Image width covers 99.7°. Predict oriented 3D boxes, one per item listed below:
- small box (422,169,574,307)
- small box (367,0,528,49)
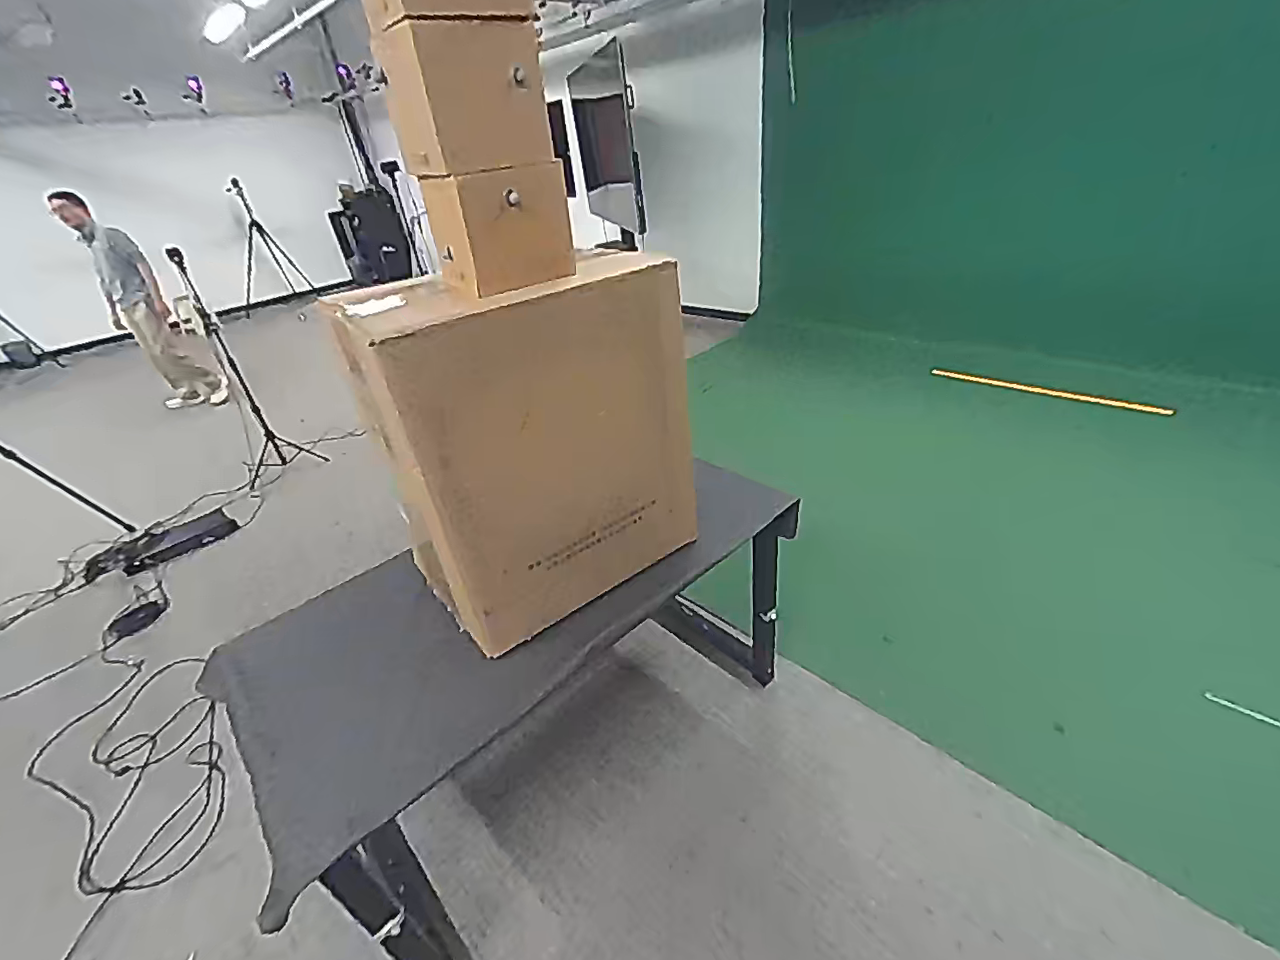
[{"bbox_3d":[-0.220,-0.394,0.871,0.179,0.176,0.168,-26,39,-27],"label":"small box"},{"bbox_3d":[-0.256,-0.666,0.690,0.179,0.176,0.168,-25,37,-26],"label":"small box"}]
